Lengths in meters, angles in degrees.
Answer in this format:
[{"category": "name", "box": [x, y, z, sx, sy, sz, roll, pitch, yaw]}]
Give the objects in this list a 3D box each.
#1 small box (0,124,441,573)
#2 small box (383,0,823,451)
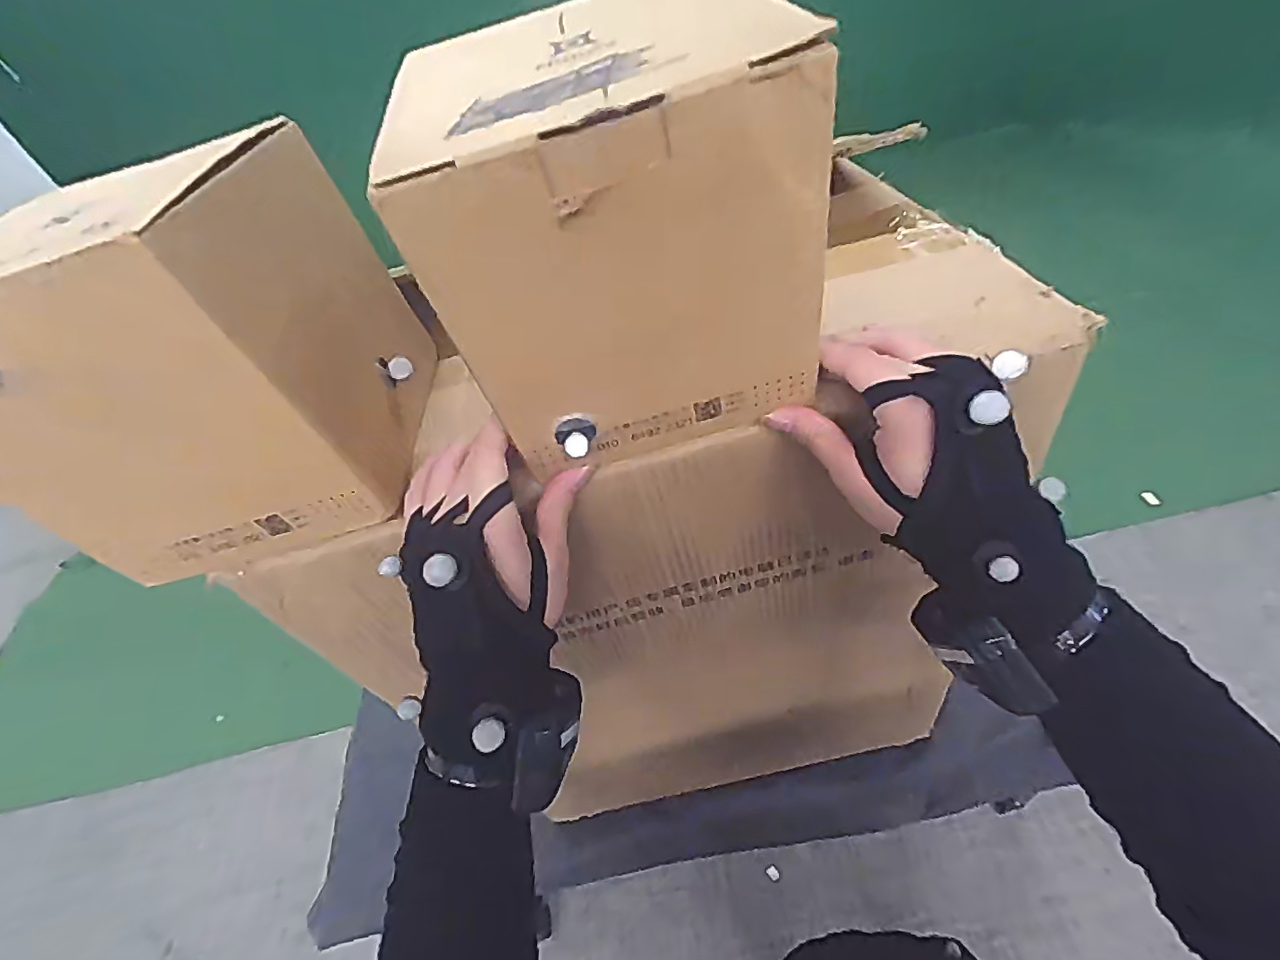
[{"category": "small box", "box": [-0.241, -0.074, 0.321, 0.168, 0.176, 0.179, -16, 45, 7]}, {"category": "small box", "box": [-0.010, -0.135, 0.300, 0.168, 0.176, 0.179, -15, 50, 3]}]
